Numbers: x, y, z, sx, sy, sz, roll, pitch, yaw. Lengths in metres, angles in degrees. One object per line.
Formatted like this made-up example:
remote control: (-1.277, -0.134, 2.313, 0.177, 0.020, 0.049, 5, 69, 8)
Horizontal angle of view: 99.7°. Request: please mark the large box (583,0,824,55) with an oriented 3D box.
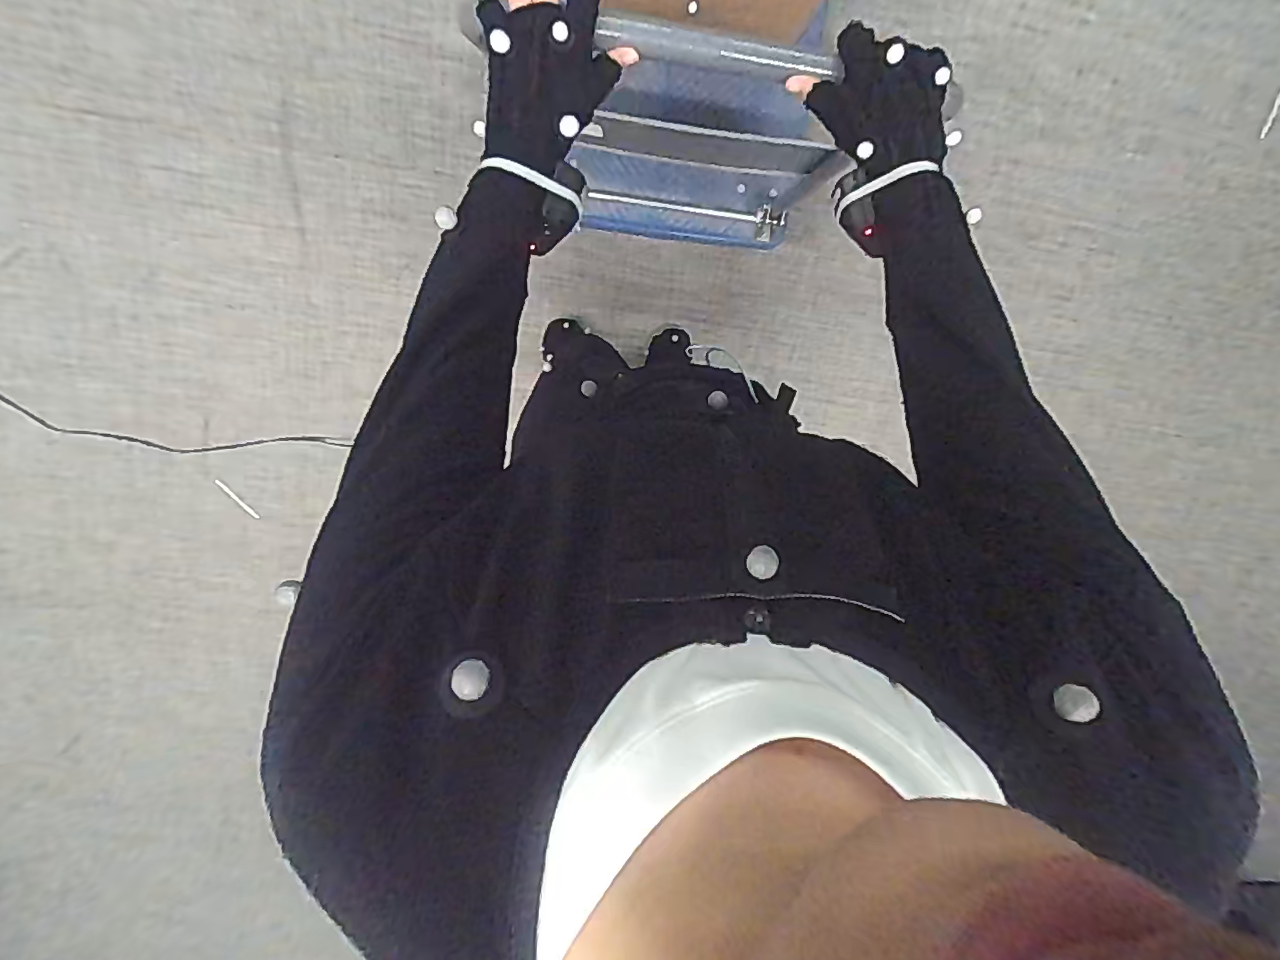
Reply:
large box: (0.118, -0.951, 0.861, 0.408, 0.320, 0.320, 9, 107, -5)
